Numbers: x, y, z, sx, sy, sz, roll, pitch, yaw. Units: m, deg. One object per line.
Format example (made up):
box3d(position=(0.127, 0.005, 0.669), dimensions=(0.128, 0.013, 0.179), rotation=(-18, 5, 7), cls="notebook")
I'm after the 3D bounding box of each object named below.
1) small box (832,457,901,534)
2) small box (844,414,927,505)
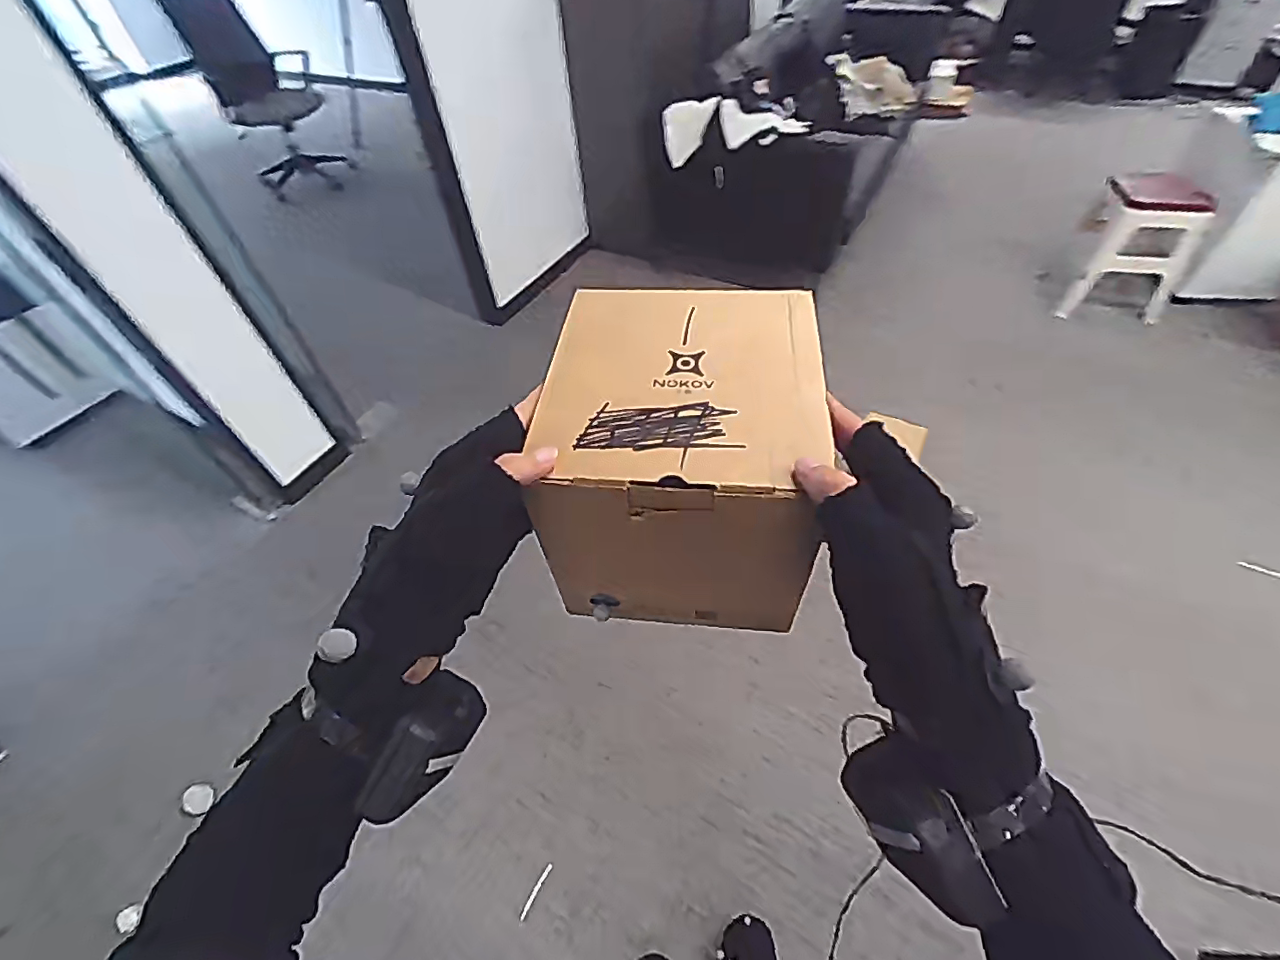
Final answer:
box3d(position=(0.731, 0.045, 1.725), dimensions=(0.179, 0.176, 0.168), rotation=(21, 55, 21), cls="small box")
box3d(position=(0.720, -0.060, 1.600), dimensions=(0.168, 0.176, 0.179), rotation=(21, 54, 21), cls="small box")
